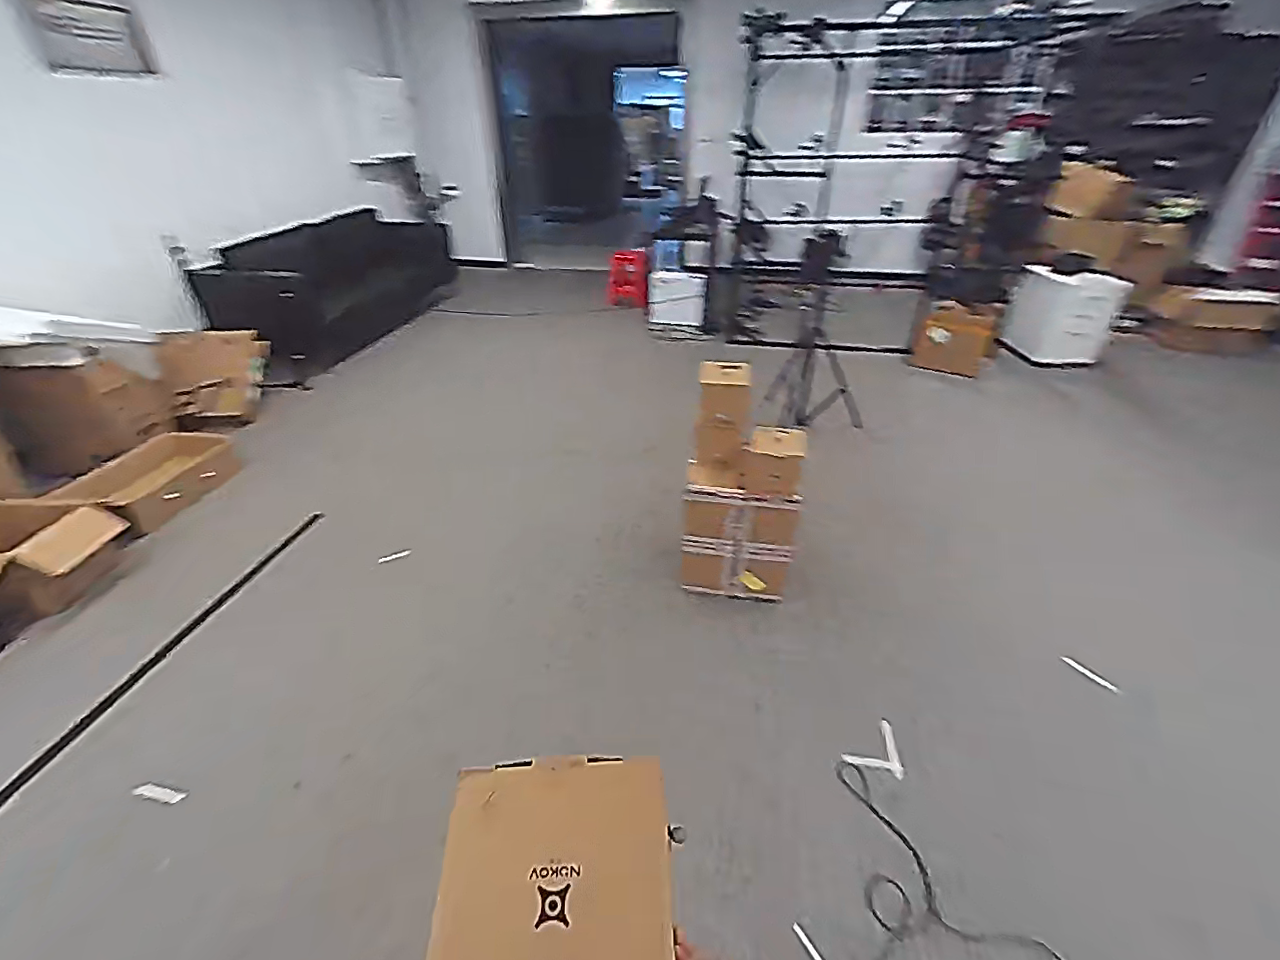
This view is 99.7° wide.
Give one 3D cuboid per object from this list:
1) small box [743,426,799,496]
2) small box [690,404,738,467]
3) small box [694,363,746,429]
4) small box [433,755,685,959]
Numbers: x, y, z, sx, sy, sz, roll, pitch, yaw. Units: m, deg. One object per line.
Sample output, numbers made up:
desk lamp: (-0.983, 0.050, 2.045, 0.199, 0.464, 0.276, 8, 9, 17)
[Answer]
small box: (0.444, -0.064, 1.837, 0.168, 0.176, 0.179, 6, 36, 9)
small box: (0.272, -0.165, 1.989, 0.168, 0.176, 0.179, 1, 36, 7)
small box: (0.280, -0.296, 1.889, 0.168, 0.176, 0.179, 3, 37, 10)
small box: (-0.050, 0.339, 0.430, 0.168, 0.176, 0.179, -4, 49, 1)
